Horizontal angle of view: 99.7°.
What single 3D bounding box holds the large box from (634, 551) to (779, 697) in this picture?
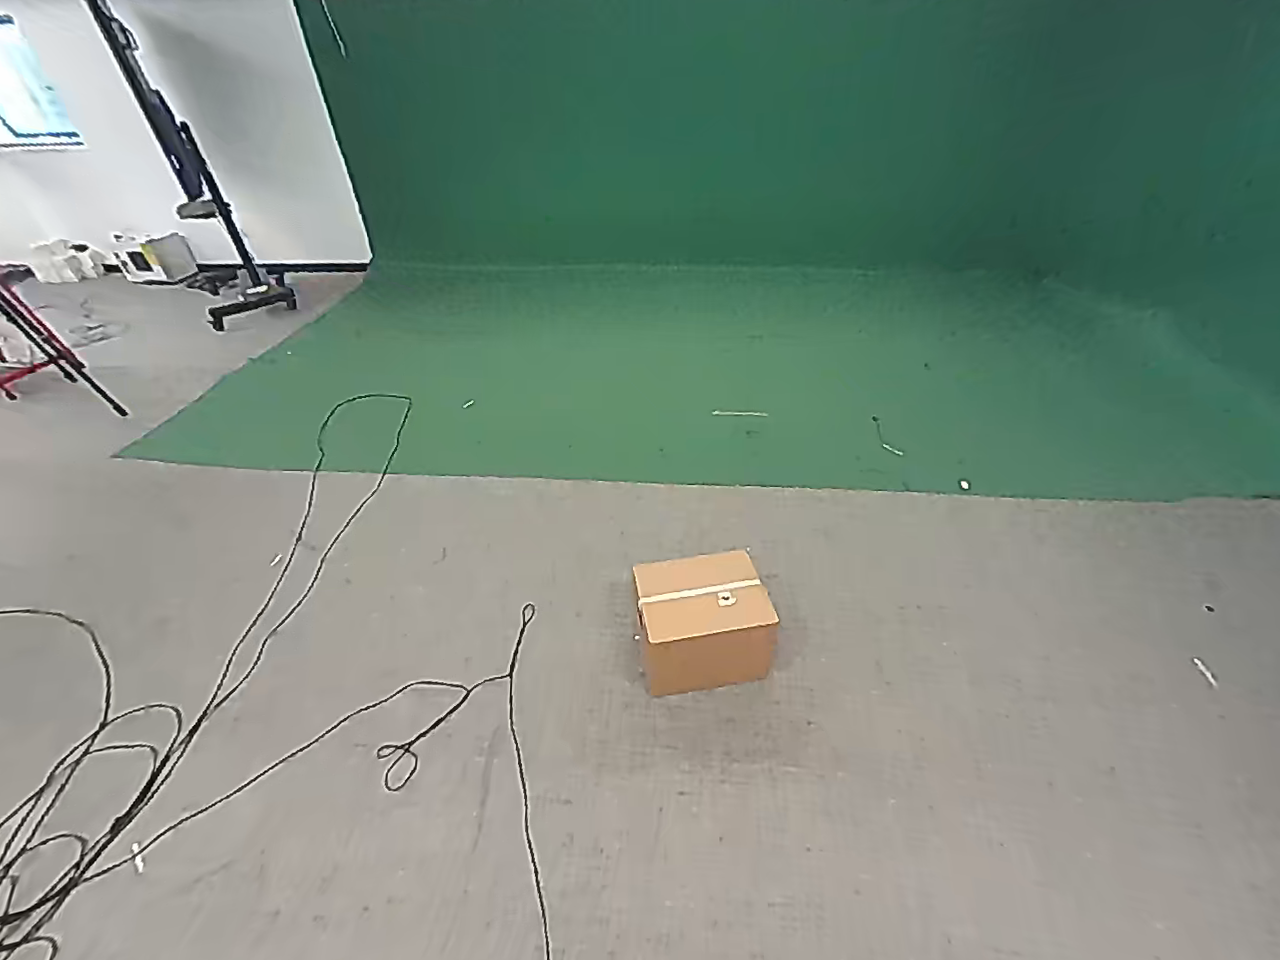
[{"bbox_3d":[0.205,0.482,1.822,0.408,0.320,0.320,-7,39,-7],"label":"large box"}]
